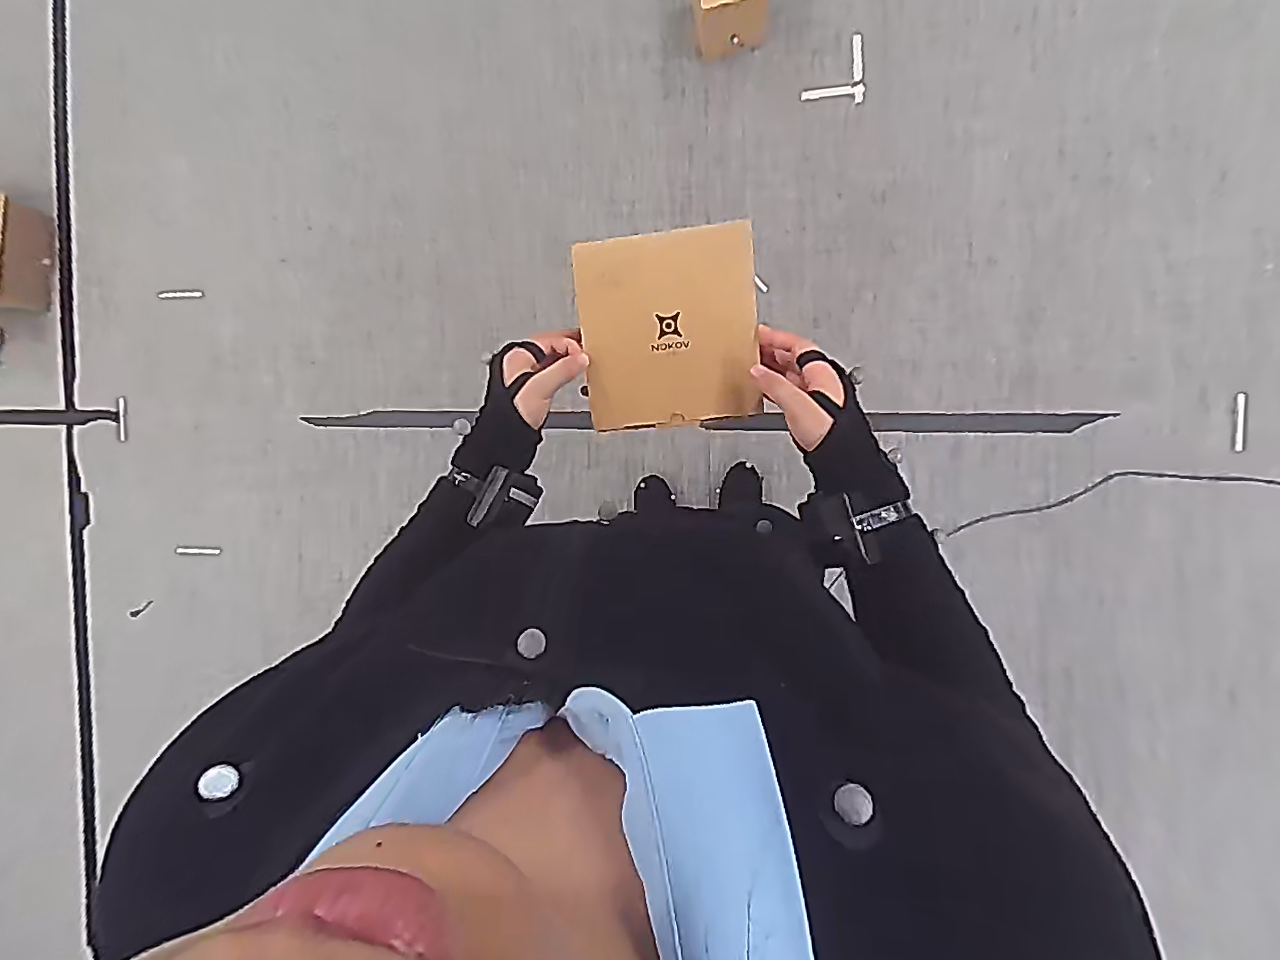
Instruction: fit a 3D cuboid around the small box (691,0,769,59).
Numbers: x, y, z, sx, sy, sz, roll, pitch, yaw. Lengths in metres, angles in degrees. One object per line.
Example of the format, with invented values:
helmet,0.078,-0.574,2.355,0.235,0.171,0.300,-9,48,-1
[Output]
small box,0.221,-1.221,1.358,0.168,0.176,0.179,-11,90,8
